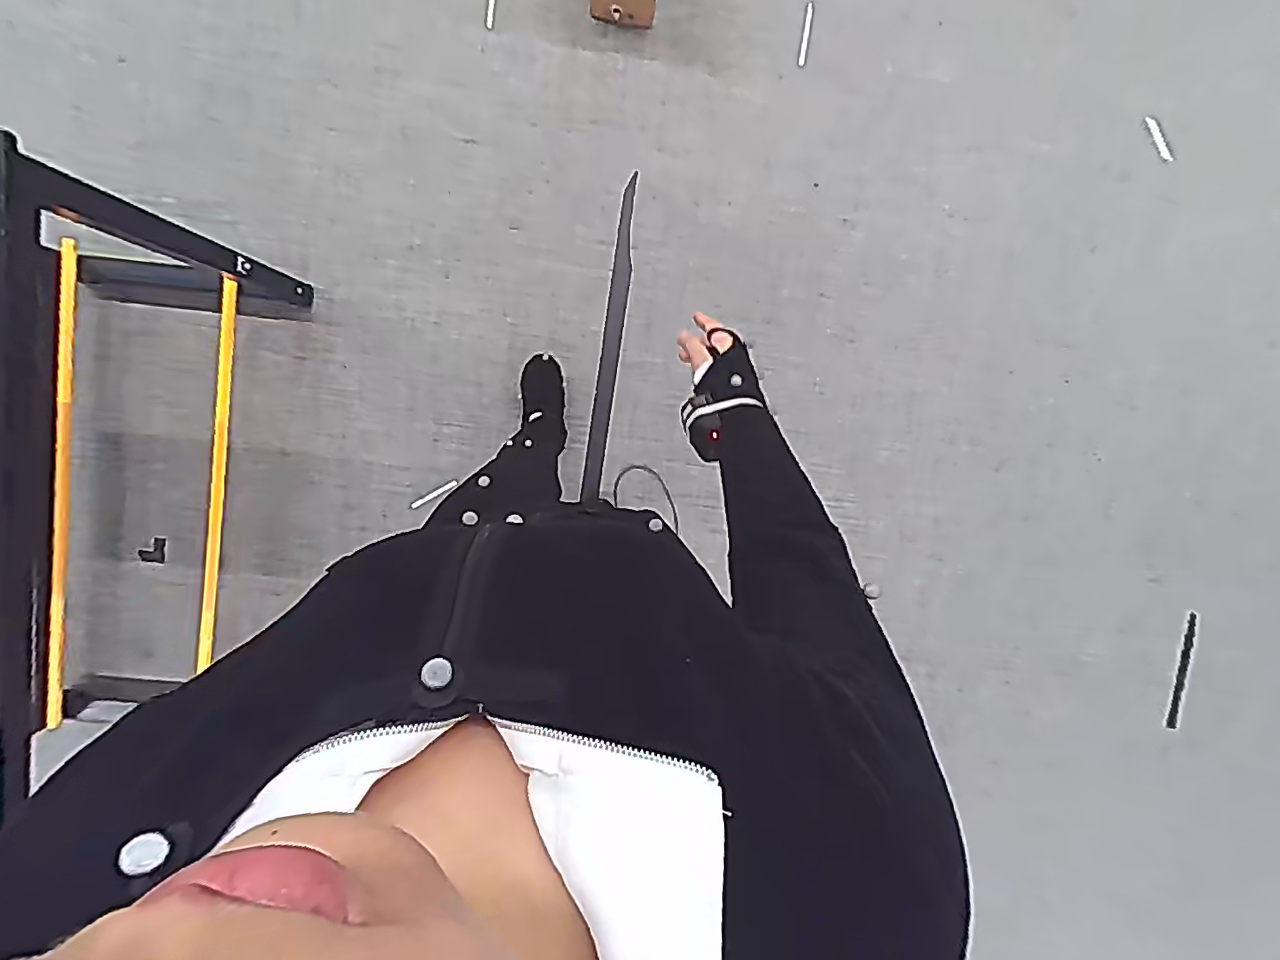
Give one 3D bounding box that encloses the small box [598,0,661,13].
[{"bbox_3d":[-0.019,-1.202,1.200,0.168,0.176,0.179,6,97,-3],"label":"small box"}]
